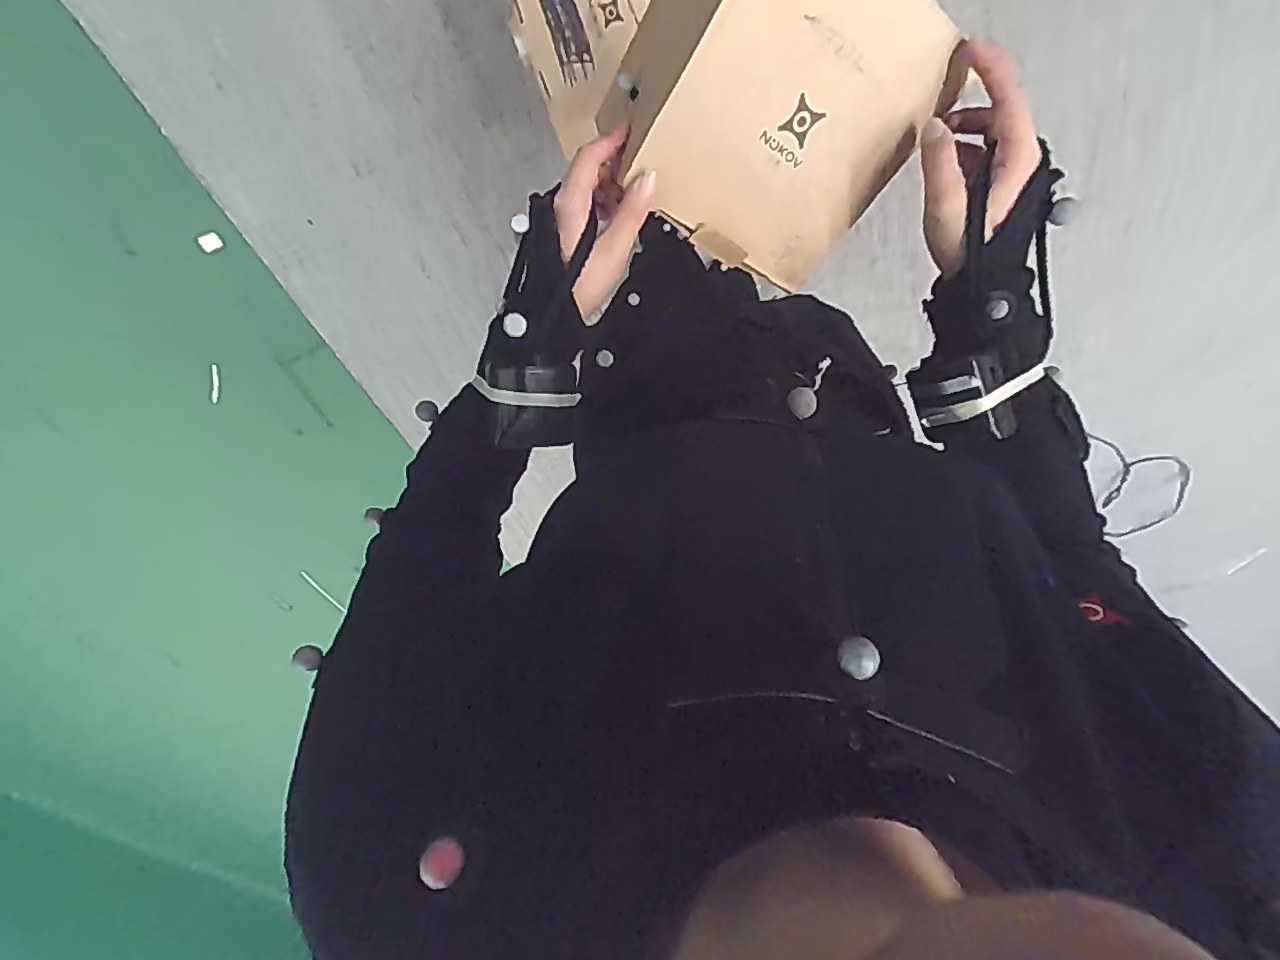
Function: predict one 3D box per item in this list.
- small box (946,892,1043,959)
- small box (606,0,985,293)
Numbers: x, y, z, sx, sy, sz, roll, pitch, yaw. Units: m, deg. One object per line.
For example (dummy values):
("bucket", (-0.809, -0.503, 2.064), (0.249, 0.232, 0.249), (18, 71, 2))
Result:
("small box", (0.979, 1.262, 1.491), (0.179, 0.176, 0.168), (-20, 125, 16))
("small box", (0.087, -0.279, 0.391), (0.168, 0.176, 0.179), (18, 129, -30))
